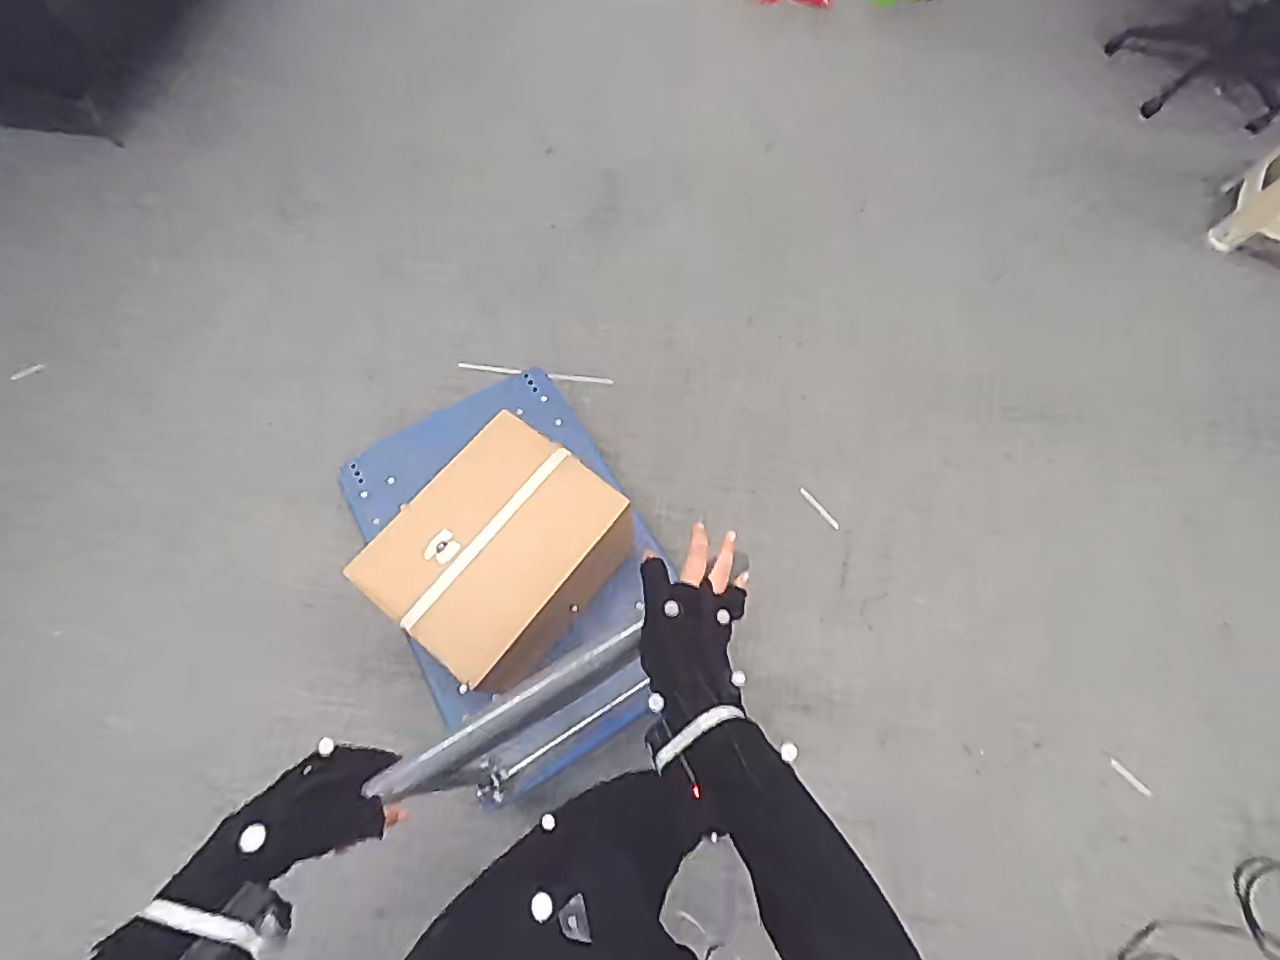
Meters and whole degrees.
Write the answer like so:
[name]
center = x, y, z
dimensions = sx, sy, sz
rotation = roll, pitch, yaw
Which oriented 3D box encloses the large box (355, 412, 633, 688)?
[large box]
center = -0.251, 0.151, 1.086
dimensions = 0.320, 0.320, 0.408
rotation = 36, 74, 14
